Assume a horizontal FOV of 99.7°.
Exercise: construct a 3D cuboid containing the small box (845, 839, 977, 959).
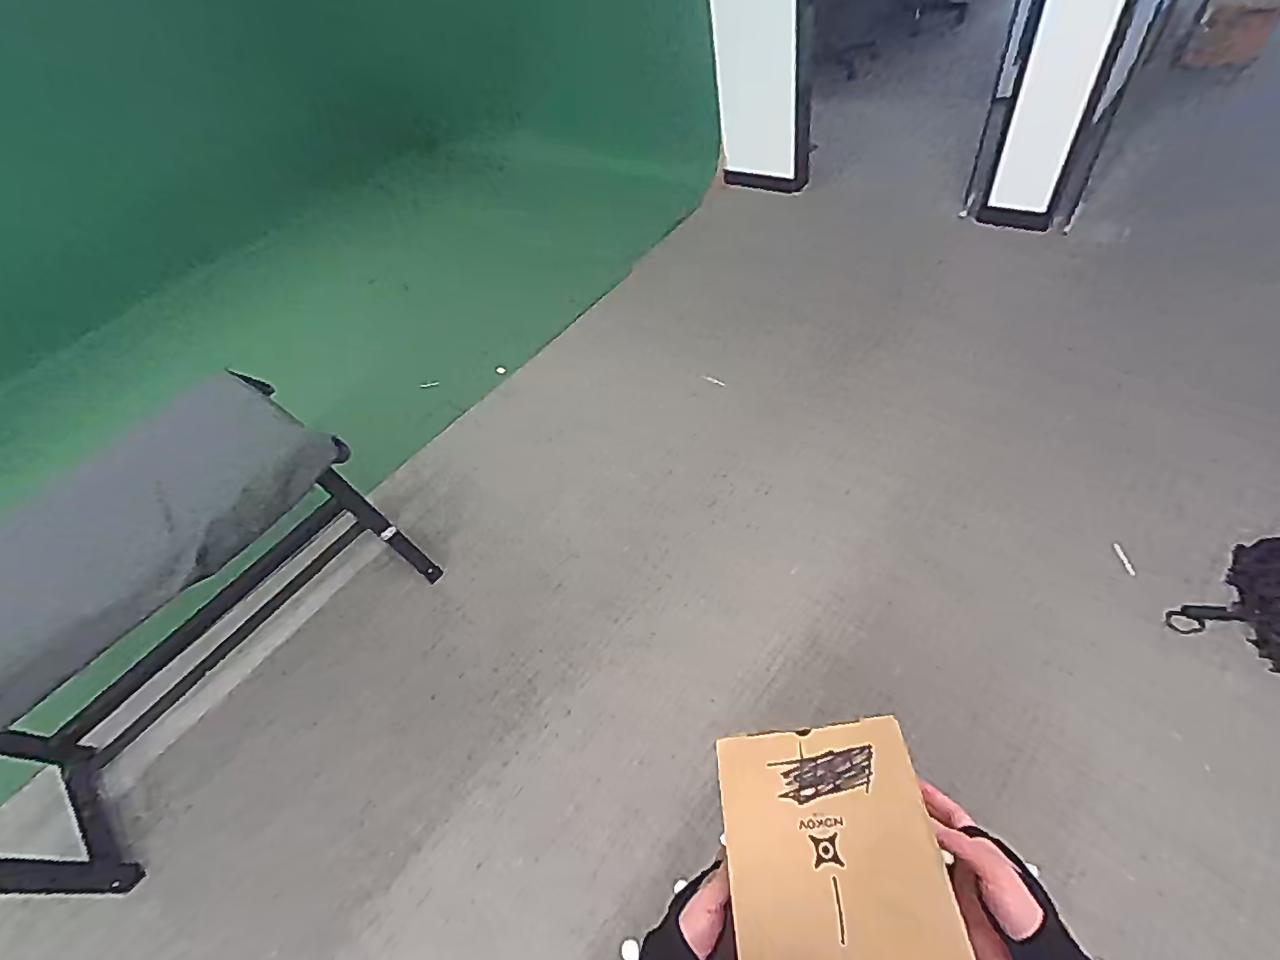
[{"bbox_3d":[0.540,0.879,1.105,0.179,0.176,0.168,-38,52,-14],"label":"small box"}]
